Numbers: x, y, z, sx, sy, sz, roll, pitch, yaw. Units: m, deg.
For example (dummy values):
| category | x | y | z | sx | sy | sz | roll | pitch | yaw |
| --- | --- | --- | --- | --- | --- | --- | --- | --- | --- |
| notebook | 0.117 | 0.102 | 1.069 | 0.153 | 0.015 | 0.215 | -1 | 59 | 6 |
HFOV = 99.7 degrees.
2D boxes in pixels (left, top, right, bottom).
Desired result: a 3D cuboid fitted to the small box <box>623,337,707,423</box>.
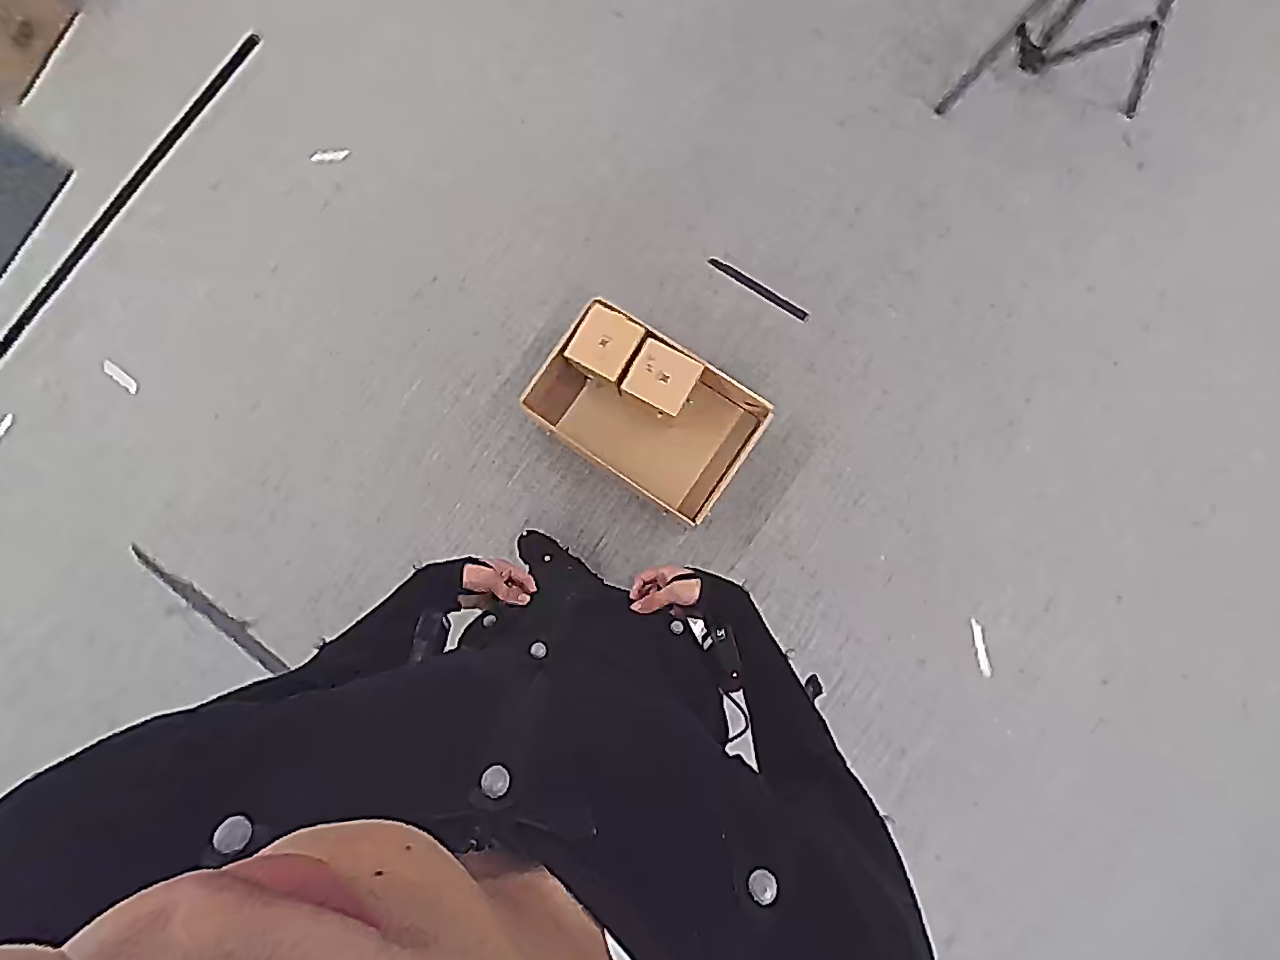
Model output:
| category | x | y | z | sx | sy | sz | roll | pitch | yaw |
| --- | --- | --- | --- | --- | --- | --- | --- | --- | --- |
| small box | 0.072 | -0.278 | 1.549 | 0.179 | 0.176 | 0.168 | 29 | 87 | 5 |
